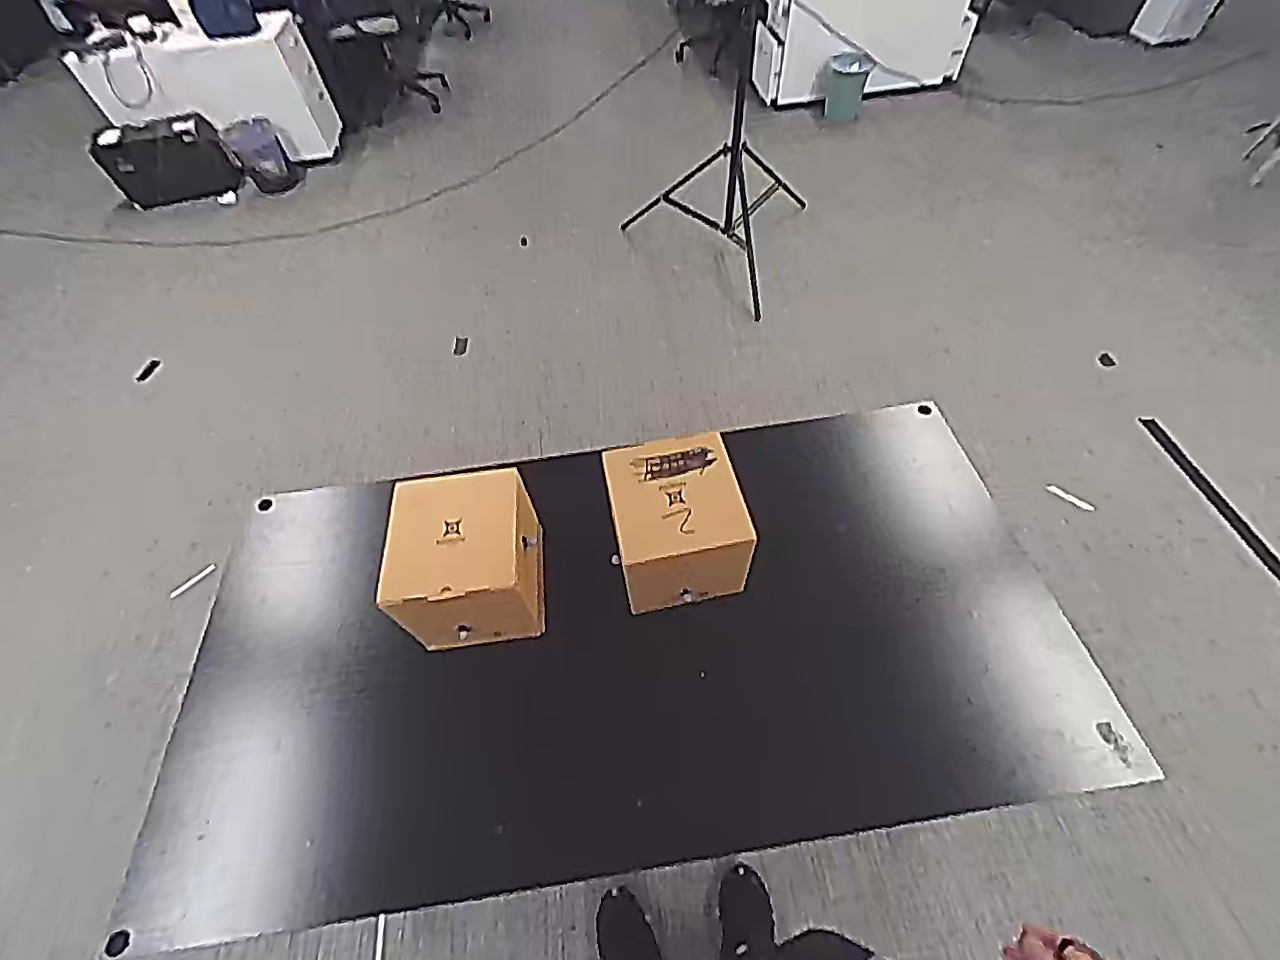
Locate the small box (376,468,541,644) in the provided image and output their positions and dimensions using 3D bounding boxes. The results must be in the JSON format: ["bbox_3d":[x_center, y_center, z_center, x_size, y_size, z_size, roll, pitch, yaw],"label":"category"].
[{"bbox_3d":[-0.235,0.108,0.750,0.168,0.176,0.179,-7,56,-1],"label":"small box"}]
